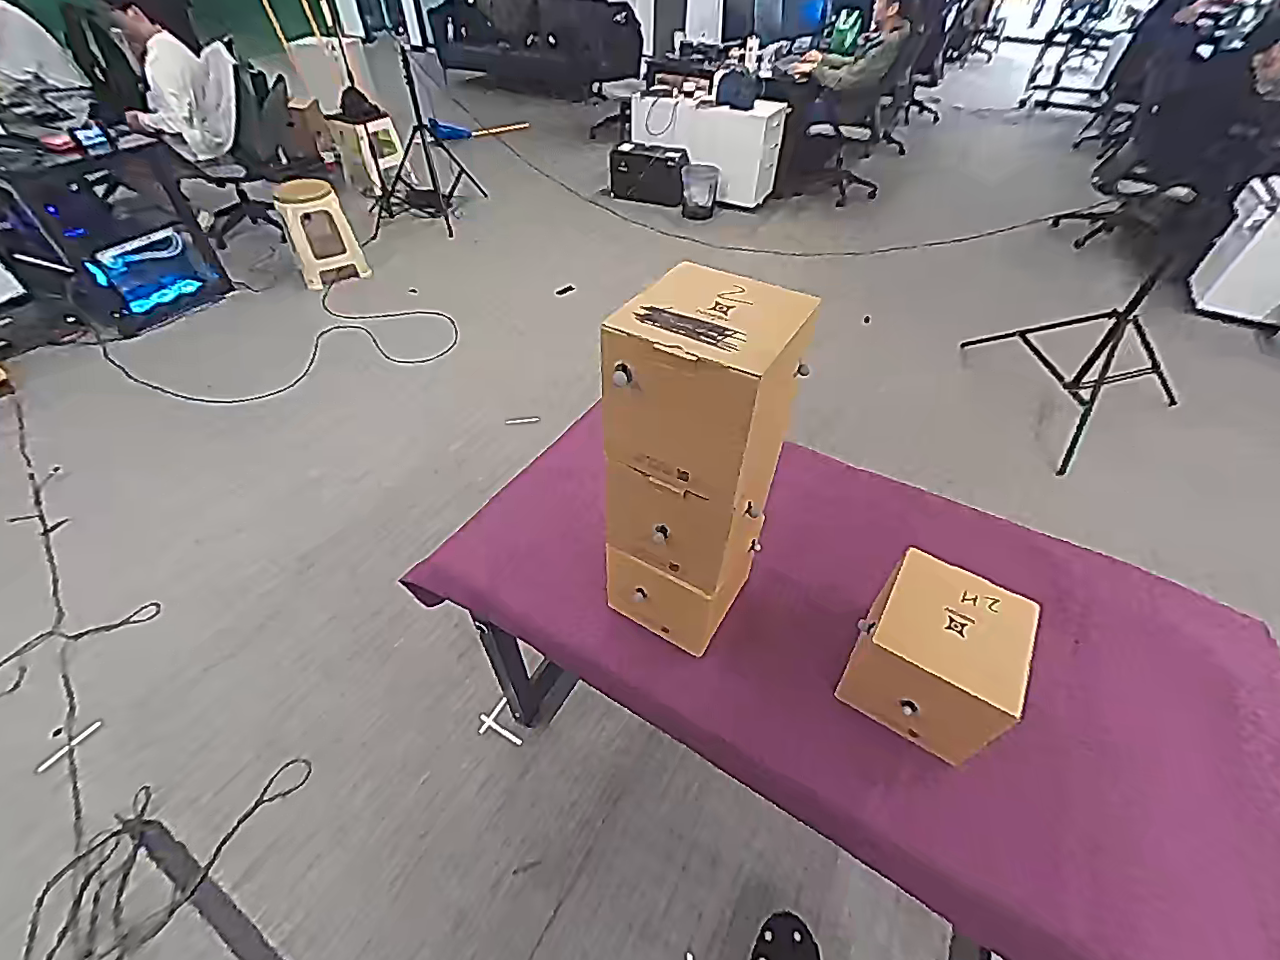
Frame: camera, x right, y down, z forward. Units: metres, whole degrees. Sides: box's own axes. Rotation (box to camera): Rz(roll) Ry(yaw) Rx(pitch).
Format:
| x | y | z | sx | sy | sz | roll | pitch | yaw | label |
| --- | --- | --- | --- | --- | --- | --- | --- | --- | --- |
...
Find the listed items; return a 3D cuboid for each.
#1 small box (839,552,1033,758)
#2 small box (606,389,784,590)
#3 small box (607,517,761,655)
| x | y | z | sx | sy | sz | roll | pitch | yaw | label |
| --- | --- | --- | --- | --- | --- | --- | --- | --- | --- |
| 0.391 | 0.239 | 0.736 | 0.168 | 0.176 | 0.179 | 27 | 50 | 22 | small box |
| 0.071 | 0.014 | 0.718 | 0.168 | 0.176 | 0.179 | 23 | 49 | 19 | small box |
| 0.065 | 0.133 | 0.830 | 0.168 | 0.176 | 0.179 | 25 | 49 | 20 | small box |
